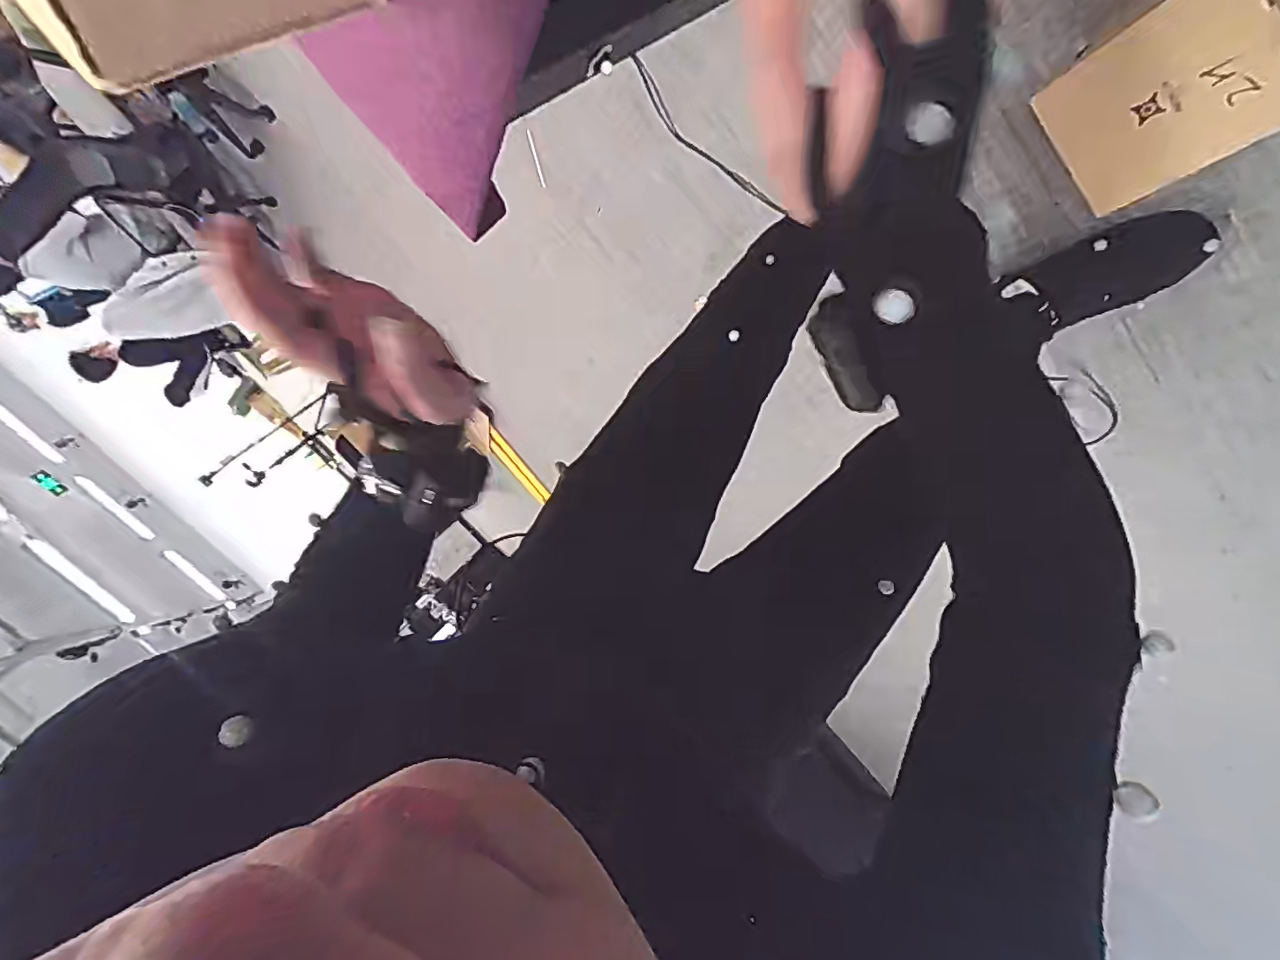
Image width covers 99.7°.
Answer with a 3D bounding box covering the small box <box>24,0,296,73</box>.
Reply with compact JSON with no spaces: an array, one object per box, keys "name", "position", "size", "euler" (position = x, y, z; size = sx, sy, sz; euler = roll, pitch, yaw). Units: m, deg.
[{"name":"small box","position":[-0.216,-0.314,0.198],"size":[0.168,0.176,0.179],"euler":[49,154,-10]}]
